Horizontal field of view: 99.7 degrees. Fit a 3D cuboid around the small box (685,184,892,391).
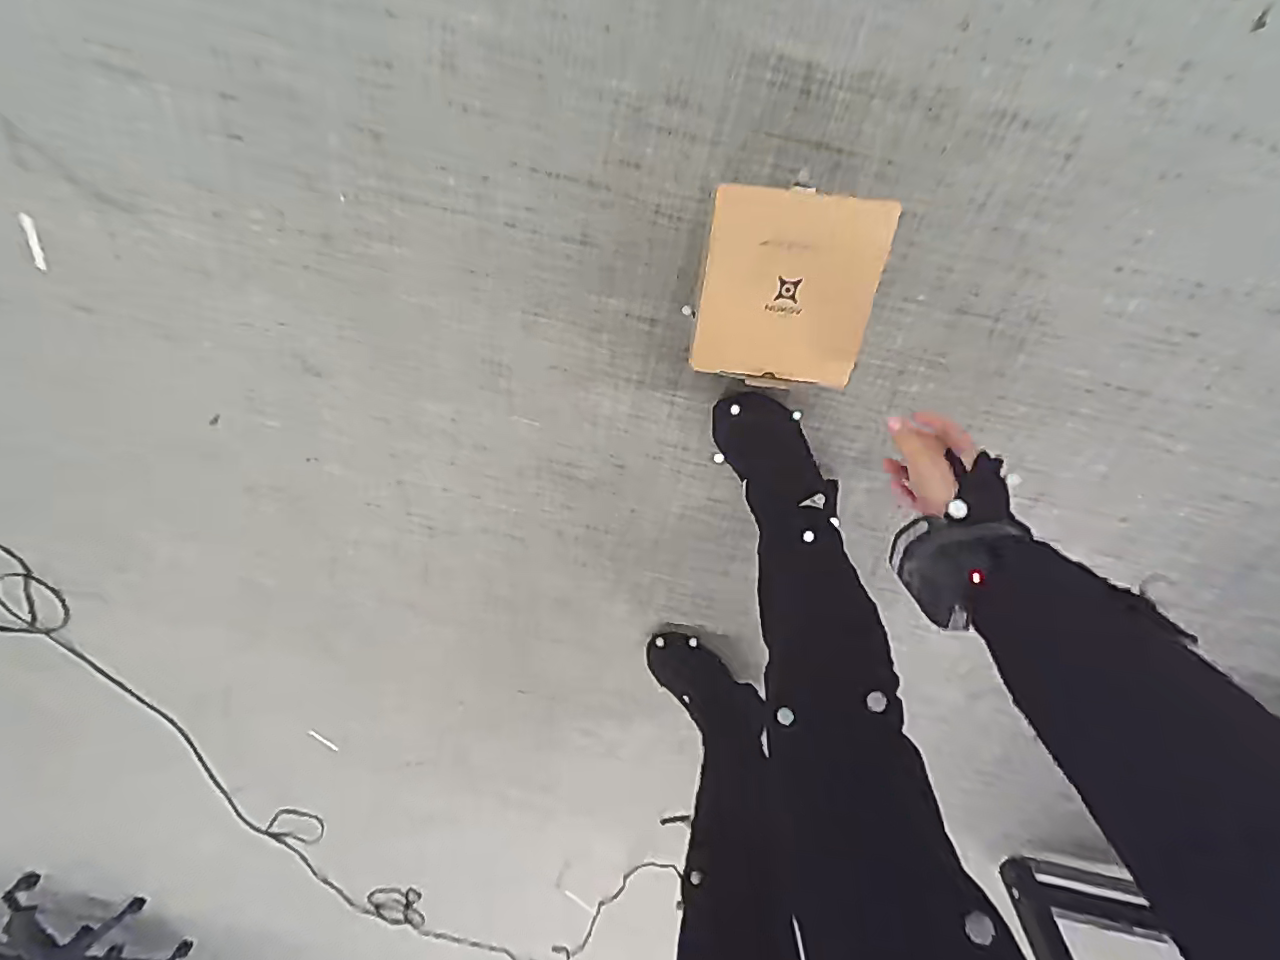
[{"bbox_3d":[0.144,-0.216,0.593,0.168,0.176,0.179,7,120,2],"label":"small box"}]
